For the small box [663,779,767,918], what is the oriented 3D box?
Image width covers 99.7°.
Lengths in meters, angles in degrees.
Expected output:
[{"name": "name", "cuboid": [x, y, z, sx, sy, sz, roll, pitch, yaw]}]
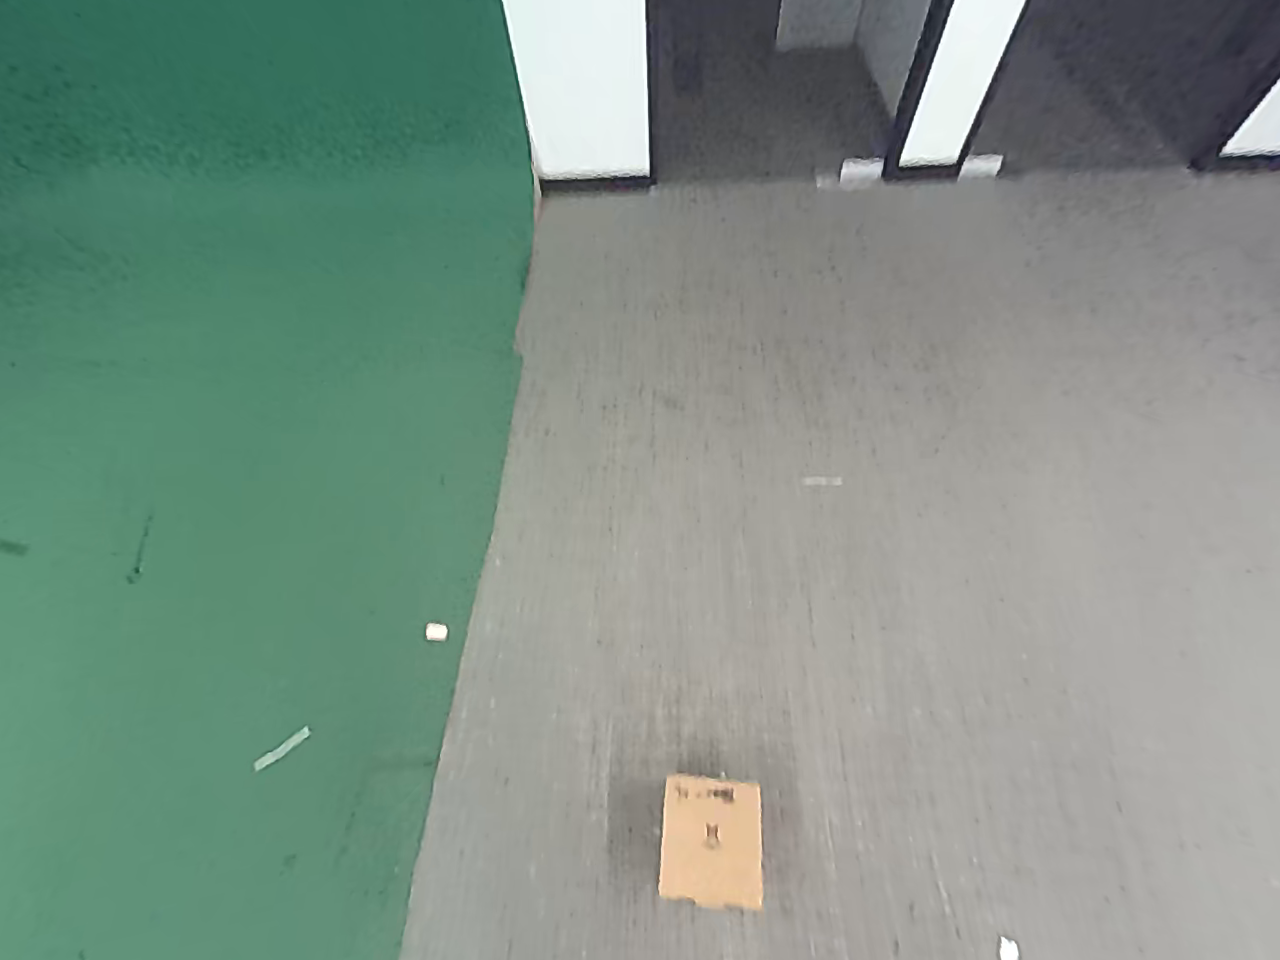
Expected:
[{"name": "small box", "cuboid": [0.132, 0.640, 0.954, 0.168, 0.176, 0.179, 3, 58, 6]}]
